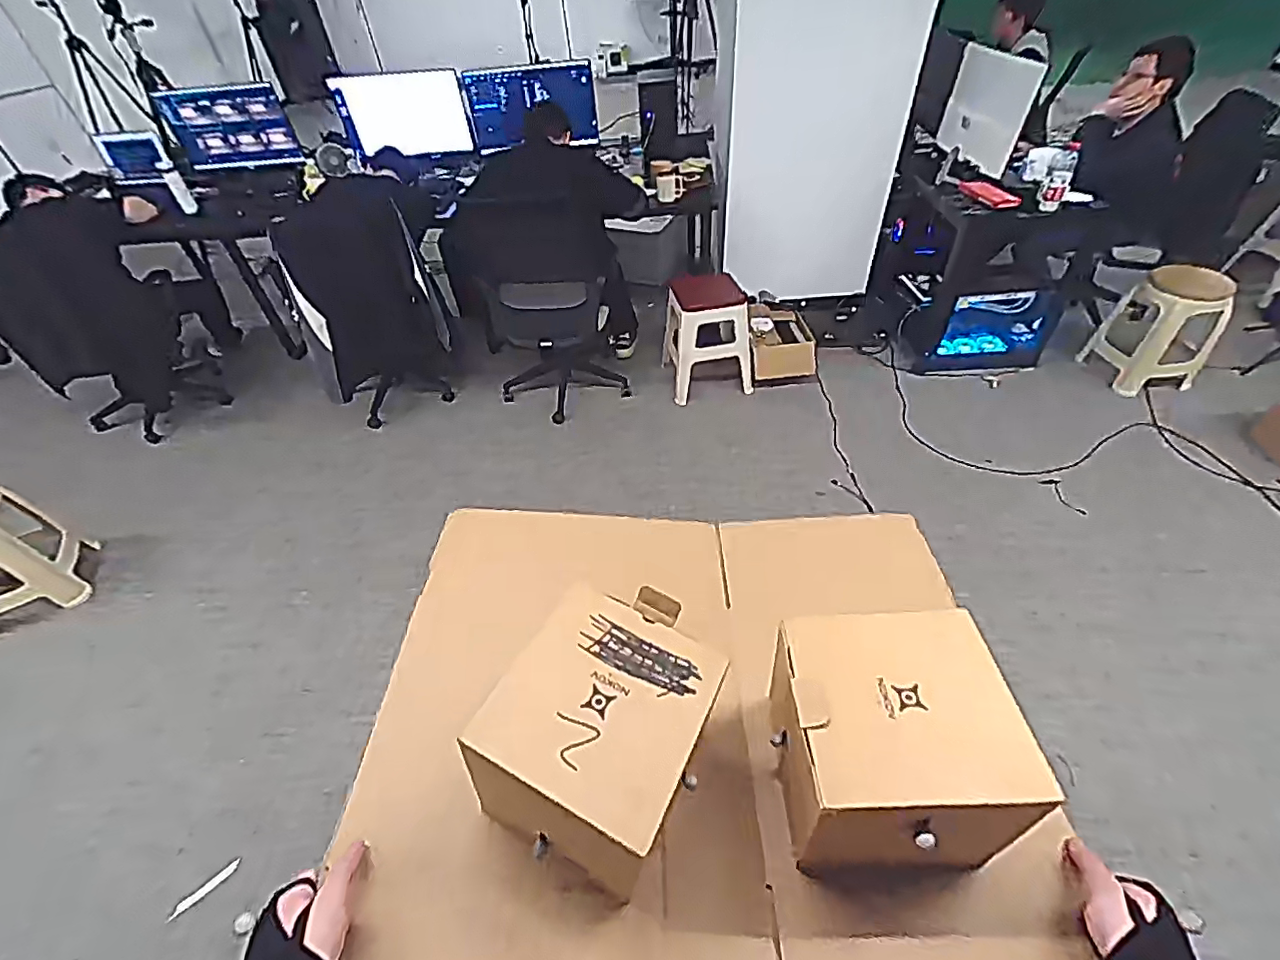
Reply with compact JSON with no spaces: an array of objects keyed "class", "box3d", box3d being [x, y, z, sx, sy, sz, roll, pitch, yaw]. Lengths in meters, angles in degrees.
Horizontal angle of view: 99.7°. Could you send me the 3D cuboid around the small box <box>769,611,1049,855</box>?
[{"class":"small box","box3d":[0.229,0.244,0.521,0.179,0.176,0.168,-4,43,4]}]
